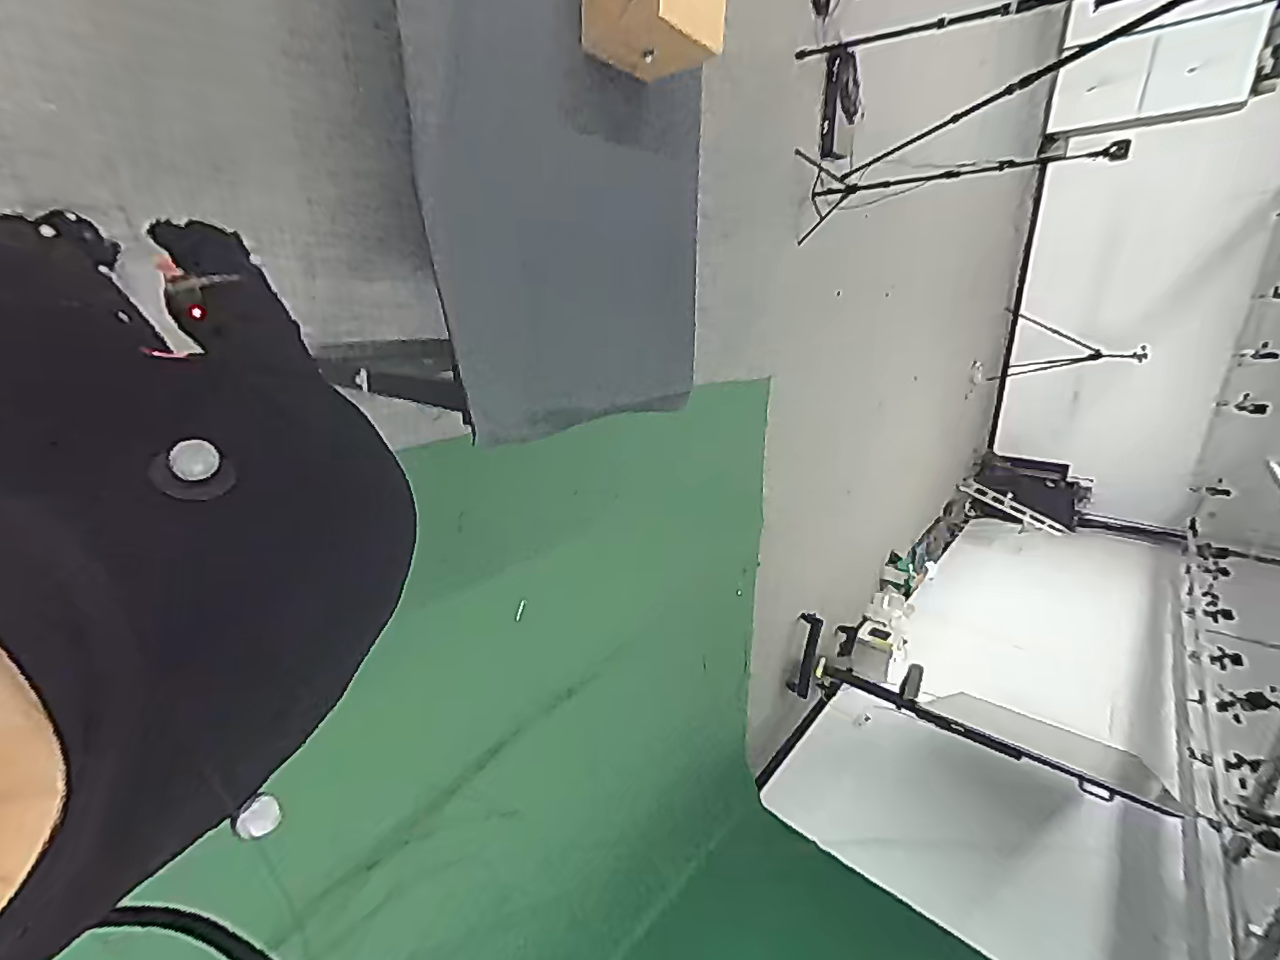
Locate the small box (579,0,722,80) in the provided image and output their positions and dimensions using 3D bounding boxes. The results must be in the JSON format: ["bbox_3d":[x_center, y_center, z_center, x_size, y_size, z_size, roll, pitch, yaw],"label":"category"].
[{"bbox_3d":[0.016,-0.781,0.865,0.168,0.176,0.179,-16,114,-47],"label":"small box"}]
